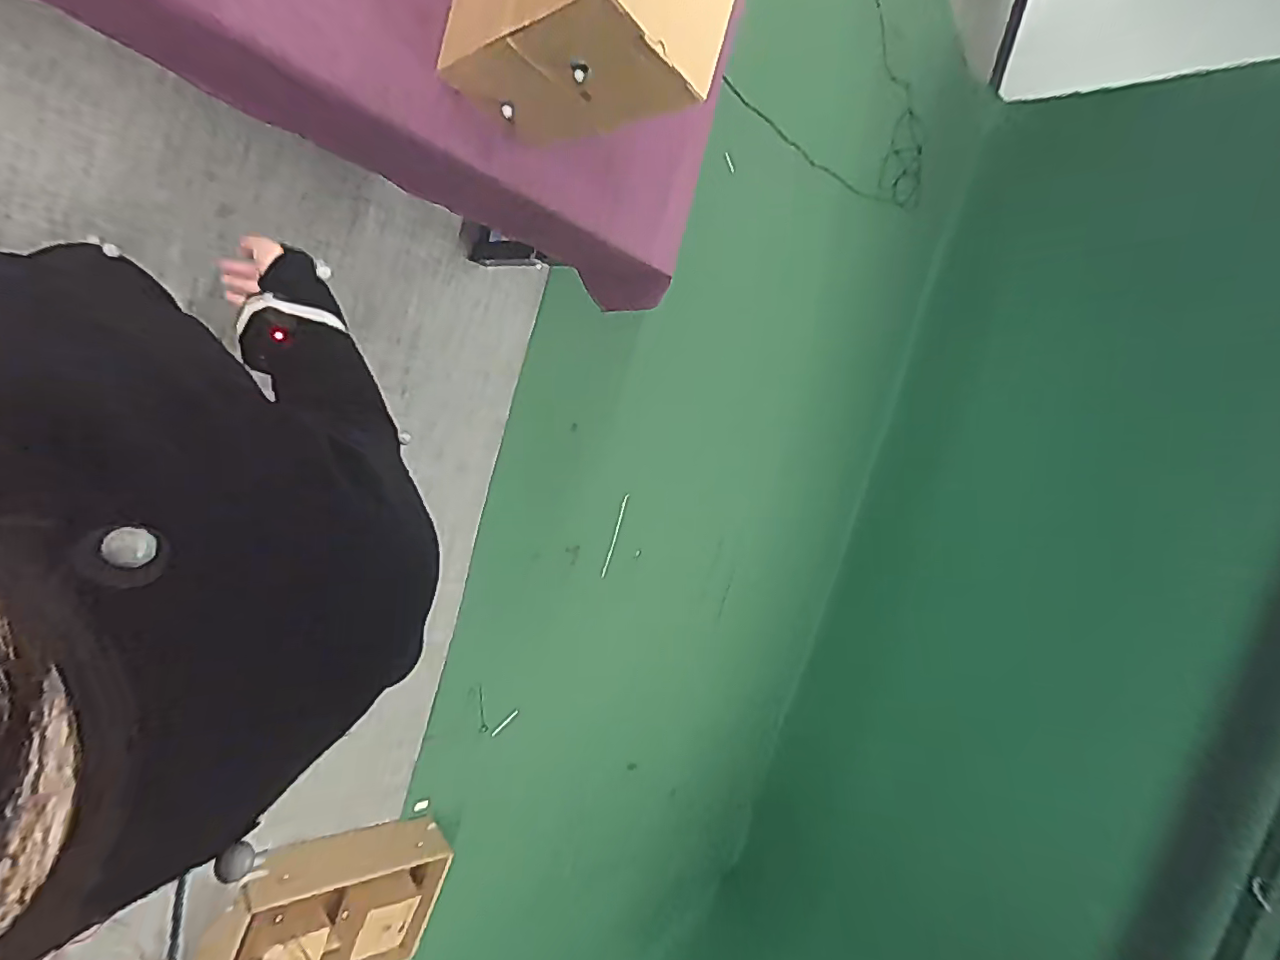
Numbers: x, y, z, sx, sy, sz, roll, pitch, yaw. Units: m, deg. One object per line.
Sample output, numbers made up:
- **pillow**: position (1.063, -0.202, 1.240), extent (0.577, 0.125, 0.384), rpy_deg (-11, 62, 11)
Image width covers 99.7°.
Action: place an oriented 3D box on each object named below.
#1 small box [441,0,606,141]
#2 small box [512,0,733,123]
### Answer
- **small box**: position (-0.134, -0.579, 0.700), extent (0.168, 0.176, 0.179), rpy_deg (10, 98, -48)
- **small box**: position (-0.016, -0.536, 0.595), extent (0.168, 0.176, 0.179), rpy_deg (10, 99, -49)
